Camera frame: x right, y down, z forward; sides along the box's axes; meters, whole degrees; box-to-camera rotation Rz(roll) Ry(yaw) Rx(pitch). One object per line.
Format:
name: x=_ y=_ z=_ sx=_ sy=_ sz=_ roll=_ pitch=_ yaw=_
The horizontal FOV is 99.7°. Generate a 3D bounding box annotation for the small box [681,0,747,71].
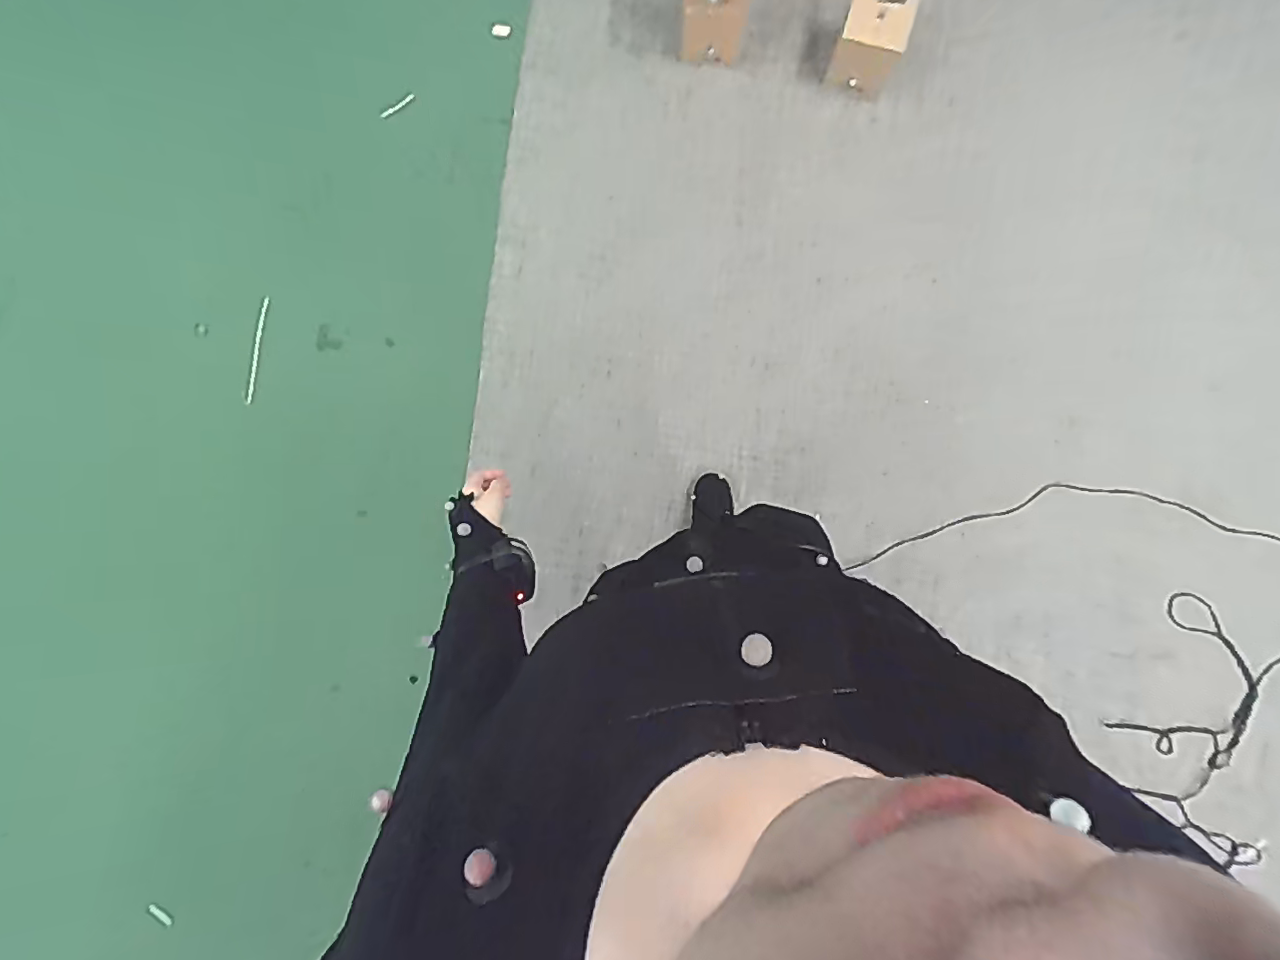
small box: x=0.199 y=-1.267 z=1.472 sx=0.168 sy=0.176 sz=0.179 roll=3 pitch=87 yaw=2

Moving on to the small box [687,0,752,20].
small box: x=0.203 y=-1.278 z=1.312 sx=0.168 sy=0.176 sz=0.179 roll=5 pitch=85 yaw=4

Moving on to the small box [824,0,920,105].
small box: x=0.616 y=-1.168 z=1.454 sx=0.168 sy=0.176 sz=0.179 roll=17 pitch=88 yaw=3
